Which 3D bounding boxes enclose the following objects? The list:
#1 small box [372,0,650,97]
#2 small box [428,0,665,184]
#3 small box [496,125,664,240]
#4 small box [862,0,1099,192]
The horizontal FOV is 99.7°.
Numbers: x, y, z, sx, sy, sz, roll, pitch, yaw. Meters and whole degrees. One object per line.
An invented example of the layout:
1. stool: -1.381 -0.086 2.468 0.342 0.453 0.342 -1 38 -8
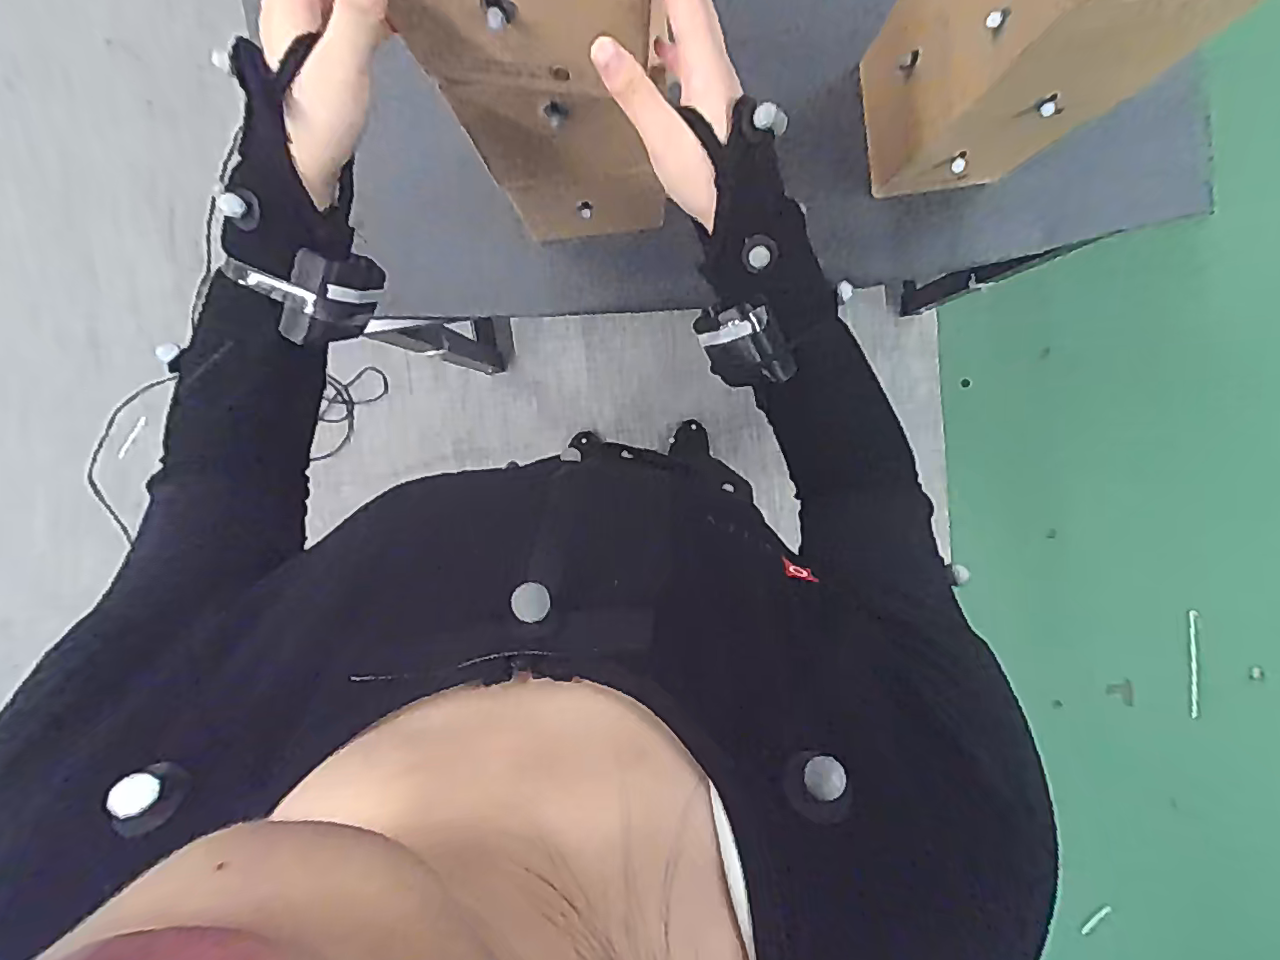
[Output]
1. small box: -0.073 -0.355 0.301 0.168 0.176 0.179 6 96 0
2. small box: -0.074 -0.379 0.466 0.179 0.176 0.168 -6 97 0
3. small box: -0.069 -0.397 0.627 0.179 0.176 0.168 -7 95 2
4. small box: 0.372 -0.454 0.619 0.168 0.176 0.179 -8 95 1
